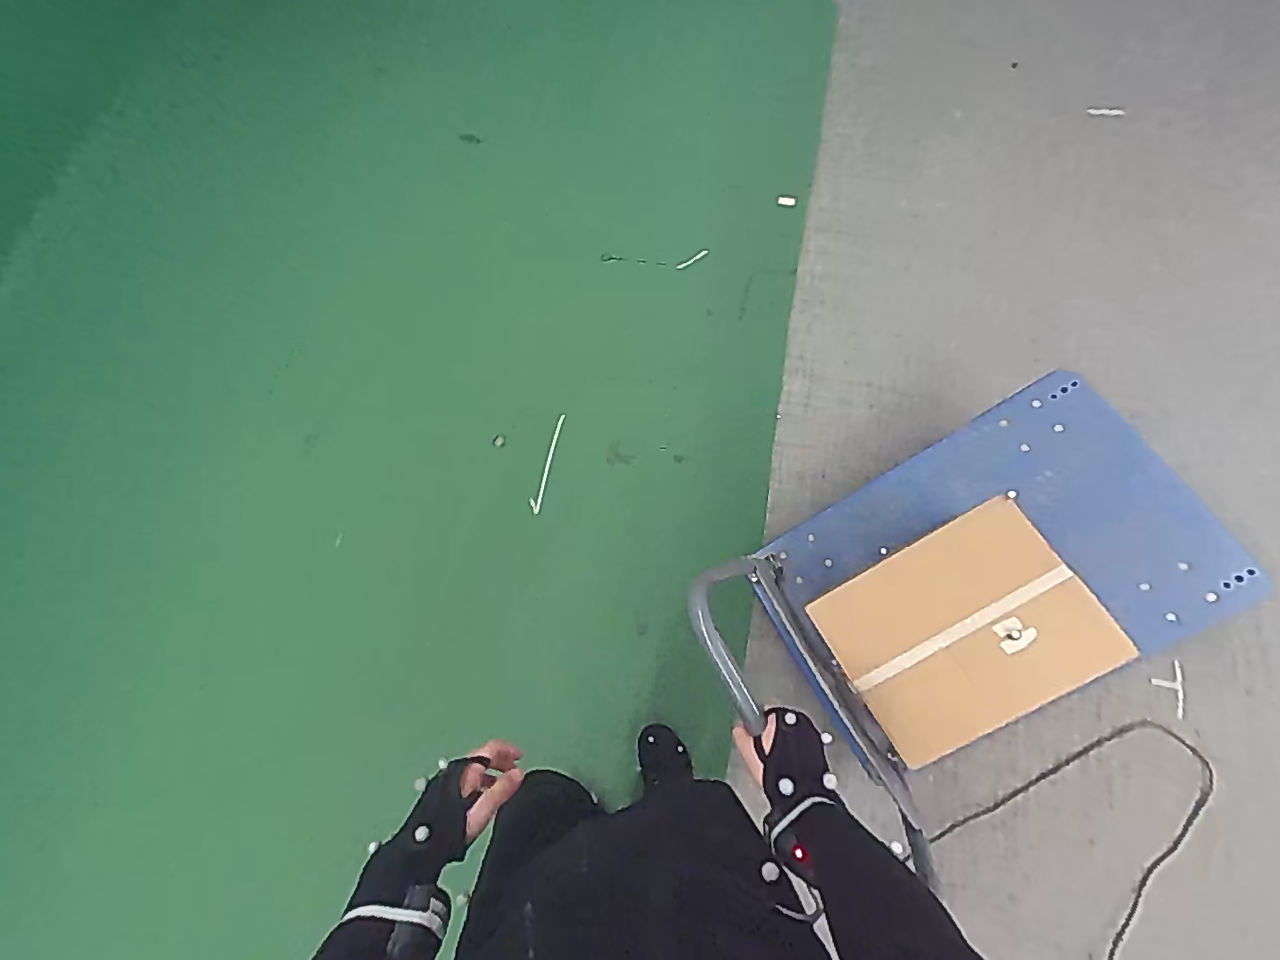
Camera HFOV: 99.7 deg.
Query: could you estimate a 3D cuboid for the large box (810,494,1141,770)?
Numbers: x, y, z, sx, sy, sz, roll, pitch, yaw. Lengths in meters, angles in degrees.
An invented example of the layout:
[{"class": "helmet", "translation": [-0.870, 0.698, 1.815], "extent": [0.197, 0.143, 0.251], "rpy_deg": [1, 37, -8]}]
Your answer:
[{"class": "large box", "translation": [0.590, 0.285, 1.055], "extent": [0.408, 0.320, 0.320], "rpy_deg": [-33, 71, 8]}]
